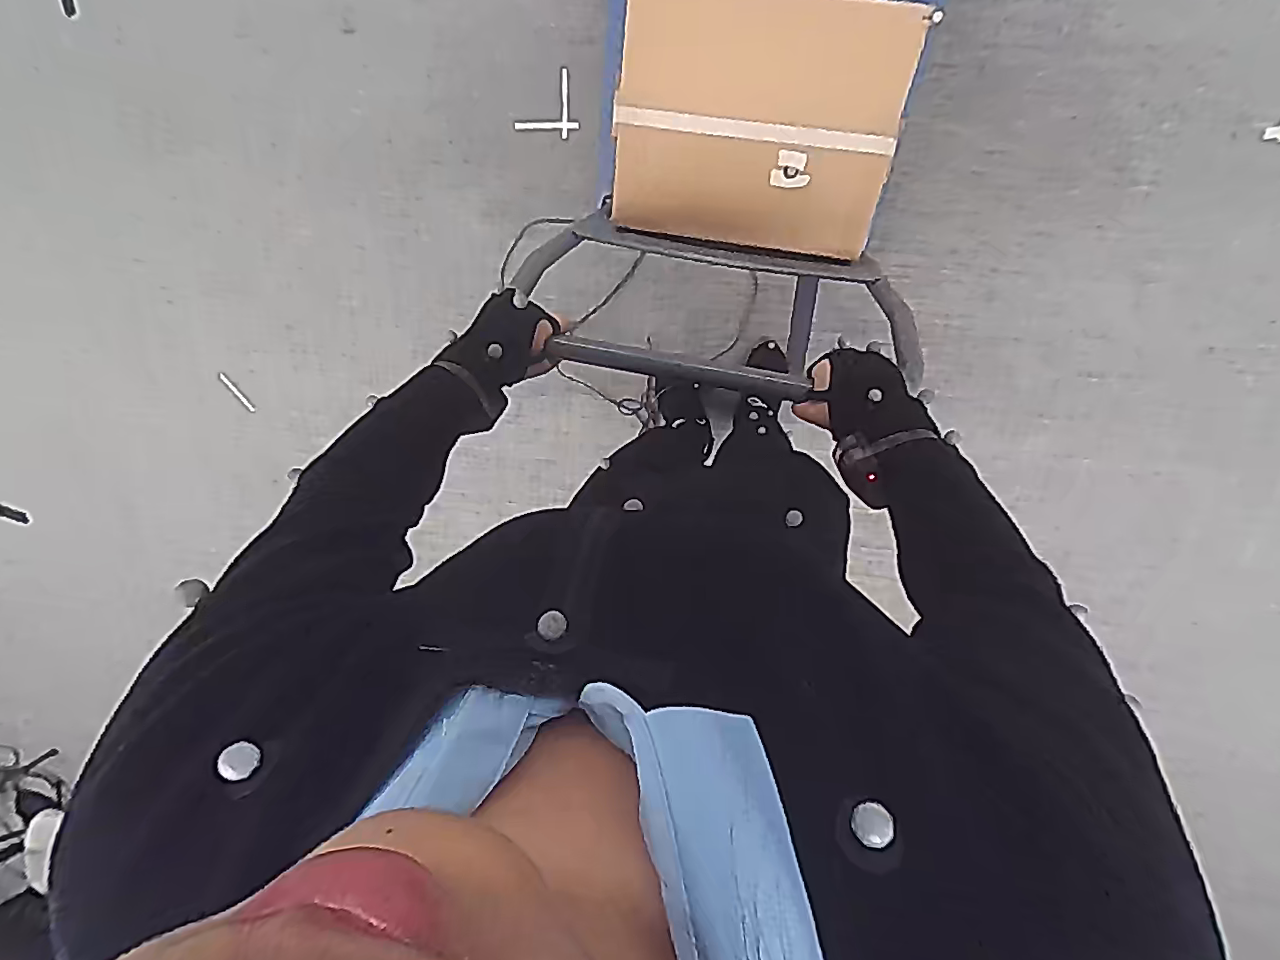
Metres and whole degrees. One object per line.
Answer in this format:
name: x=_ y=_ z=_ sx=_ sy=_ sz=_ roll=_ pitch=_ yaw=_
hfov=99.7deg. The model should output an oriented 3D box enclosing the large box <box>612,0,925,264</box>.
large box: x=0.182 y=-0.574 z=0.917 sx=0.408 sy=0.320 sz=0.320 roll=10 pitch=122 yaw=4
